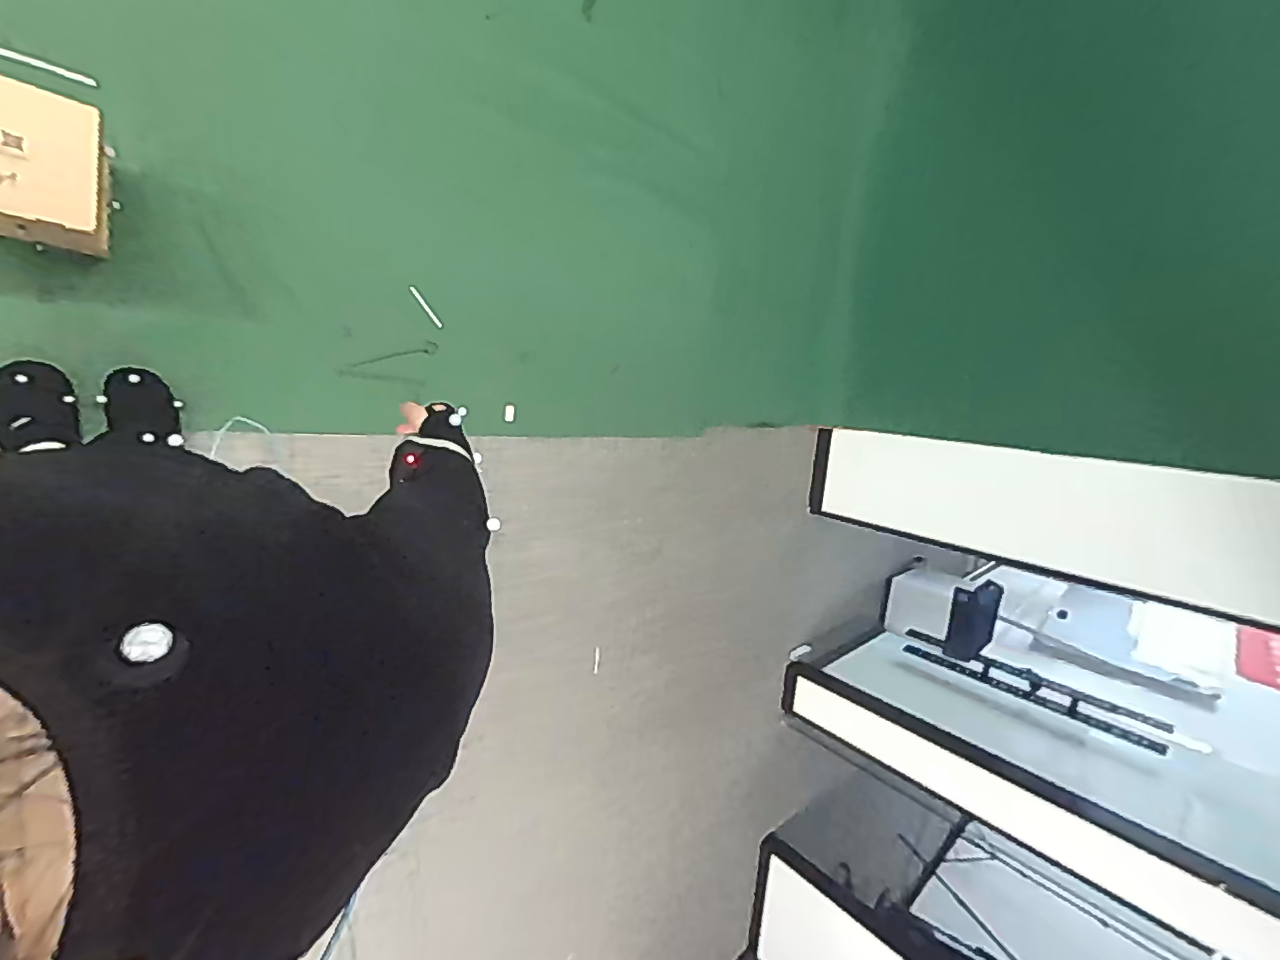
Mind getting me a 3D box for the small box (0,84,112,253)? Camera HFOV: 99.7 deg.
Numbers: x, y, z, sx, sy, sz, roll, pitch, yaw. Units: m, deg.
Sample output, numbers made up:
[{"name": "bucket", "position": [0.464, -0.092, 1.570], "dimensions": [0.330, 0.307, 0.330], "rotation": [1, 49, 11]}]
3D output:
[{"name": "small box", "position": [-0.898, -0.453, 0.794], "dimensions": [0.168, 0.176, 0.179], "rotation": [2, 100, -42]}]
